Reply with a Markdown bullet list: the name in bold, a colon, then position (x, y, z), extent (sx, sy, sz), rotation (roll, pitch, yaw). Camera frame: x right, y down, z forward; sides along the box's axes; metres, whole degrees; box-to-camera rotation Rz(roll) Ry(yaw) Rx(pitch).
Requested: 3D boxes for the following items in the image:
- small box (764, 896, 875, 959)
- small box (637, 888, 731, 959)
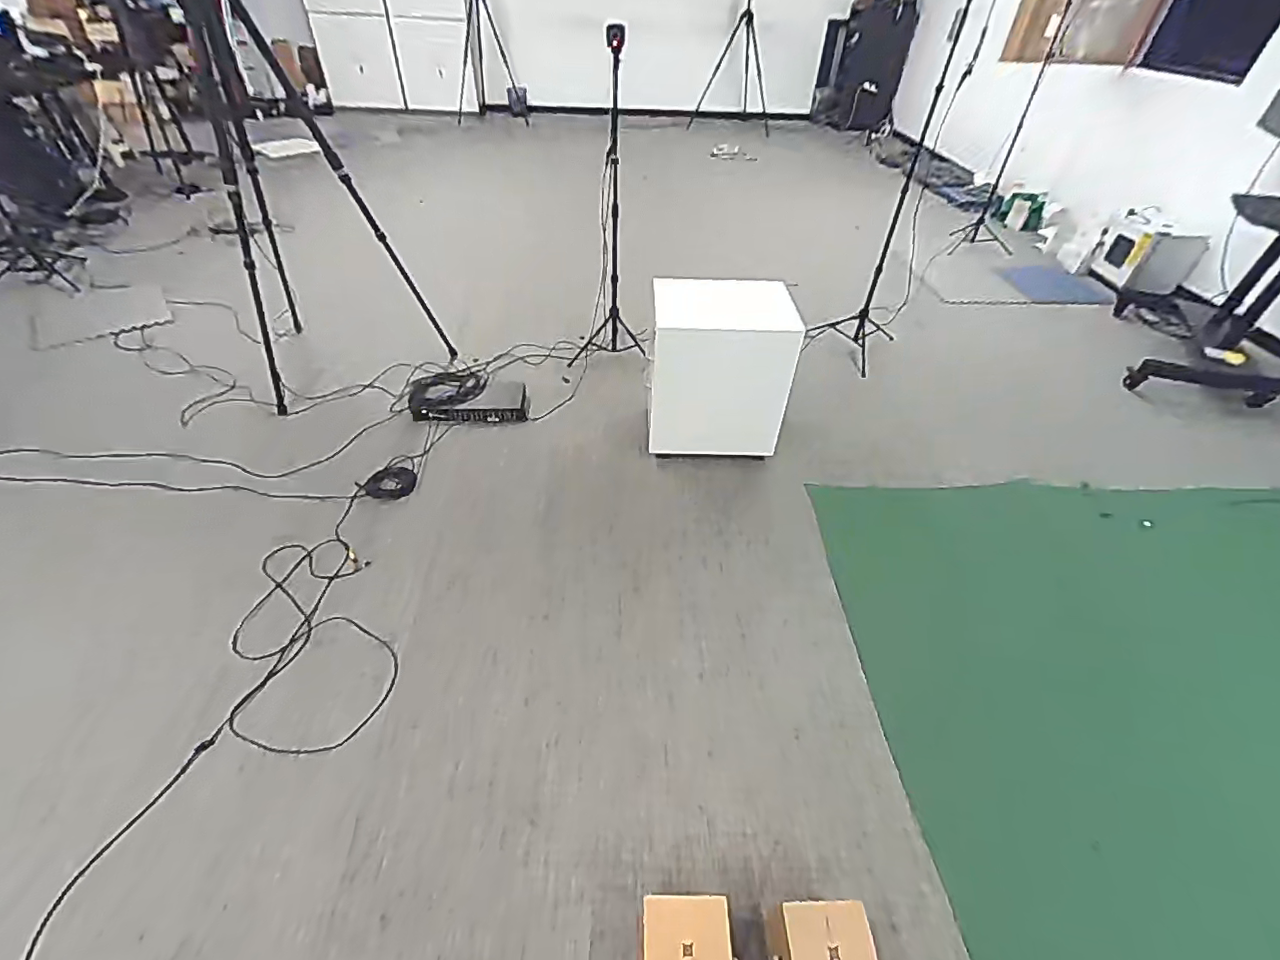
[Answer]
- **small box**: position (0.349, 0.934, 1.054), extent (0.168, 0.176, 0.179), rotation (1, 43, -2)
- **small box**: position (0.081, 0.919, 1.051), extent (0.168, 0.176, 0.179), rotation (2, 44, -2)
